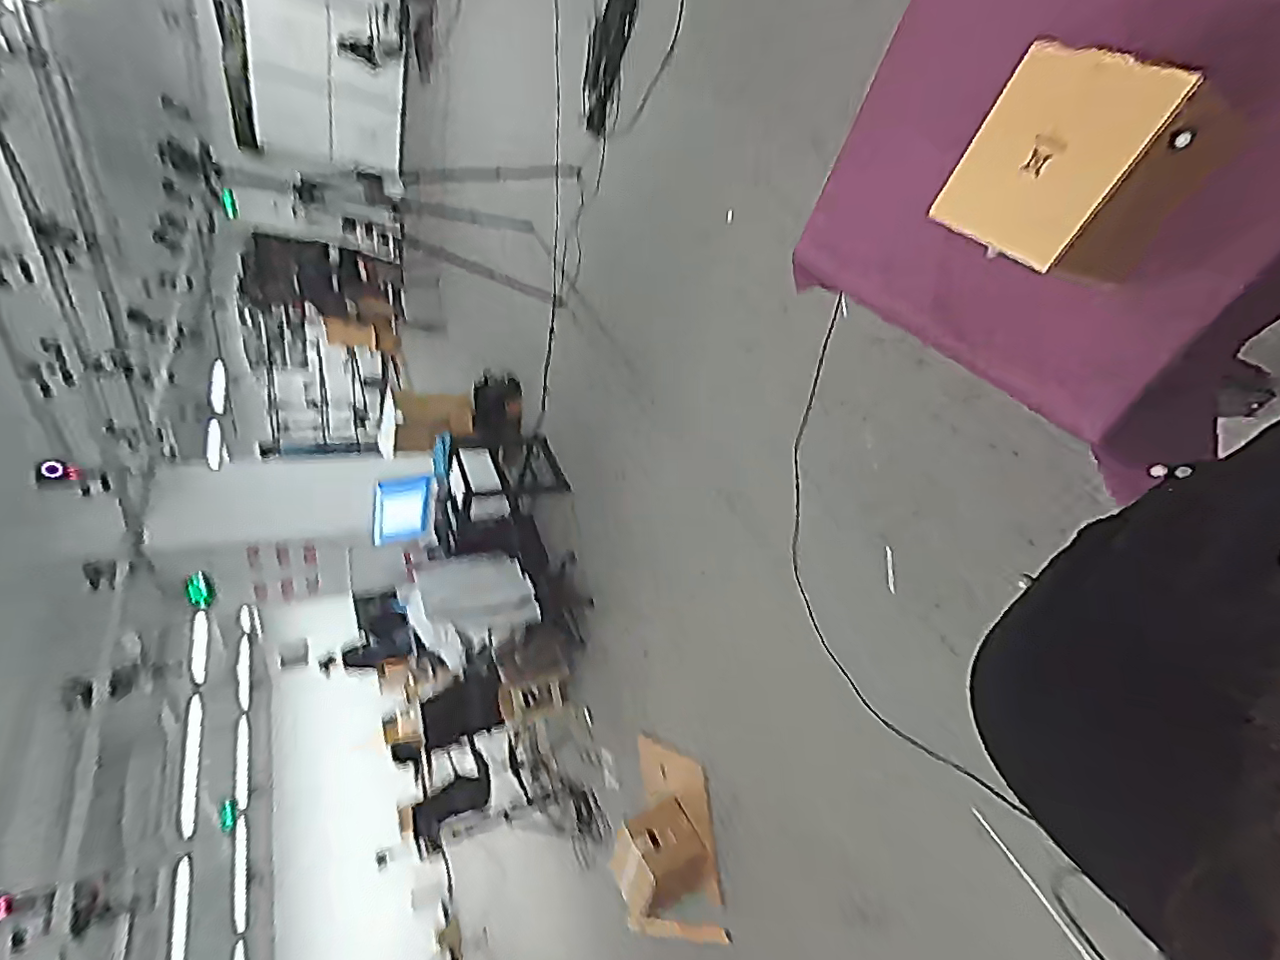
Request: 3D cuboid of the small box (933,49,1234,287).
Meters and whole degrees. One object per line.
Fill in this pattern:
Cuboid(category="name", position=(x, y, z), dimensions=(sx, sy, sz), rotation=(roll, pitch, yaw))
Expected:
Cuboid(category="small box", position=(0.488, -0.338, 0.607), dimensions=(0.168, 0.176, 0.179), rotation=(59, 139, 38))
